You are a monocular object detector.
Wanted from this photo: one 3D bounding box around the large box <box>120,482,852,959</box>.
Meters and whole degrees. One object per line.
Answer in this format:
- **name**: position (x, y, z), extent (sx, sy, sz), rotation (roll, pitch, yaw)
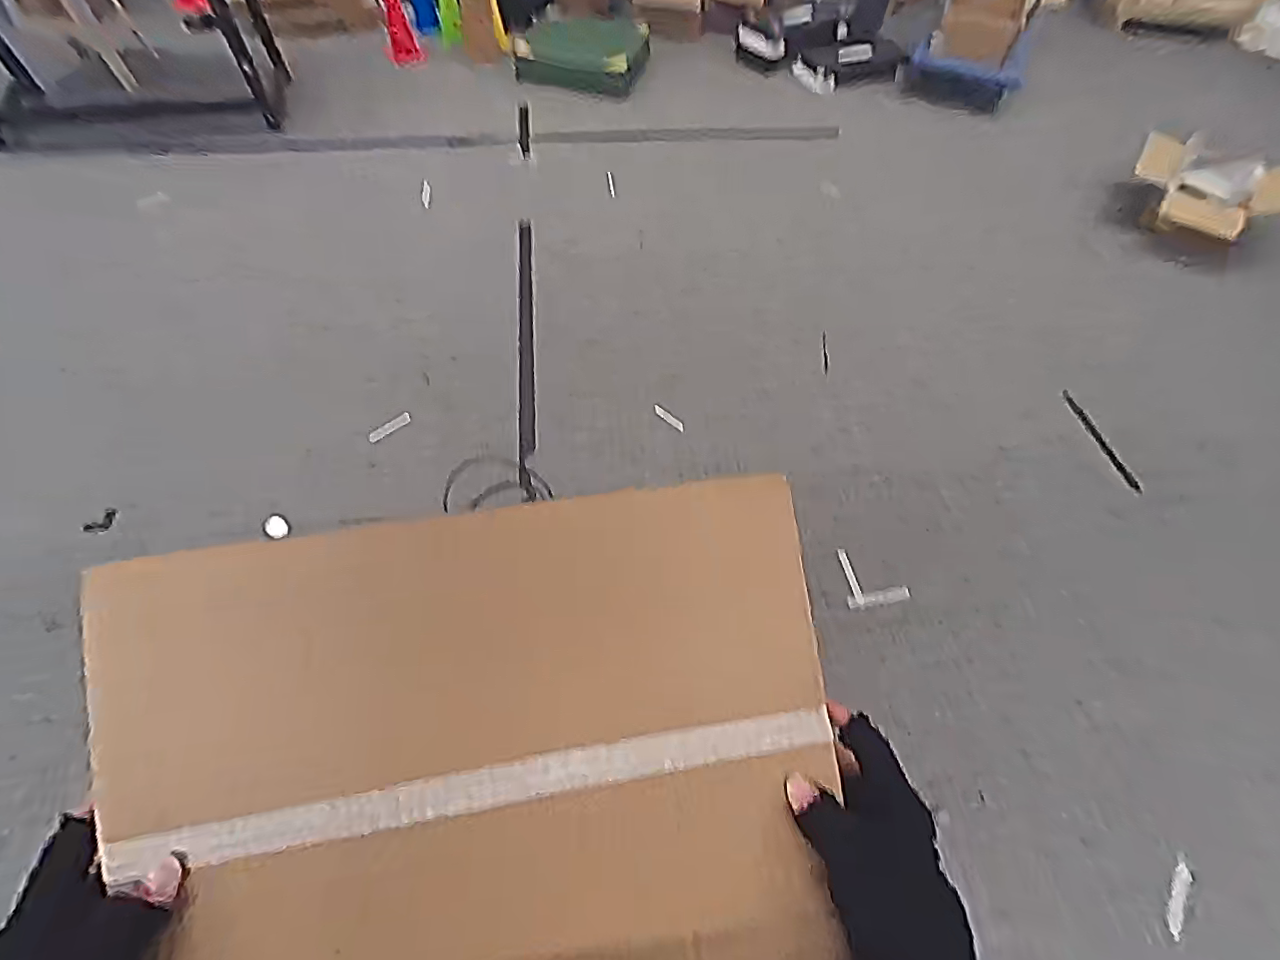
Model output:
- **large box**: position (-0.100, 0.194, 0.468), extent (0.408, 0.320, 0.320), rotation (-8, 86, -6)
